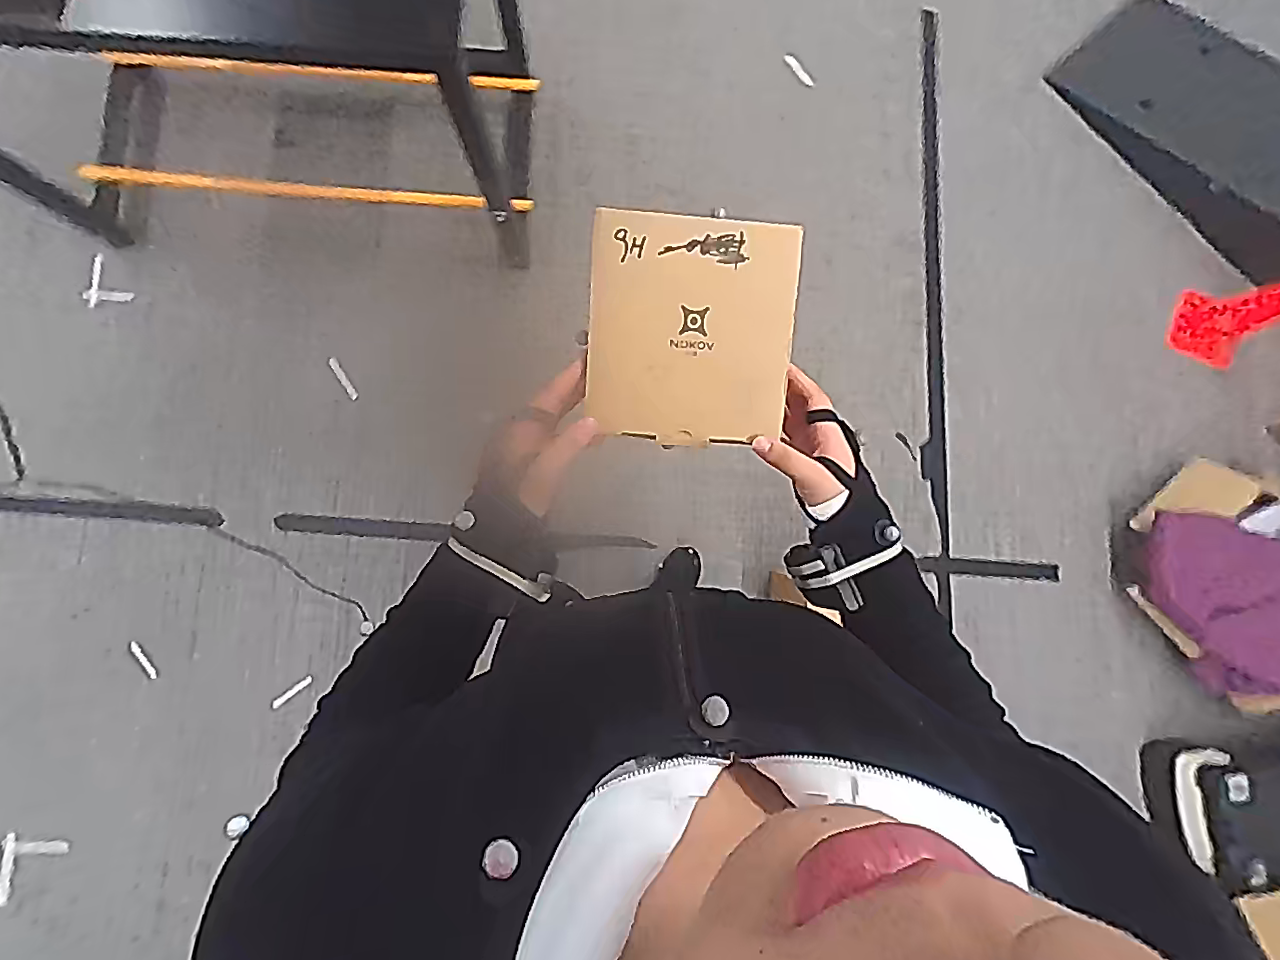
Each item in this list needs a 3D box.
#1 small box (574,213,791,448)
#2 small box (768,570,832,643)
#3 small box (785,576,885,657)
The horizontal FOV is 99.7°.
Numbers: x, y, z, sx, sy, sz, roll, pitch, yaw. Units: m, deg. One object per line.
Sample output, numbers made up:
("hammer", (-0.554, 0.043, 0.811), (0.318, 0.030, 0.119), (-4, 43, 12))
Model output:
("small box", (0.028, -0.131, 0.512), (0.168, 0.176, 0.179), (2, 101, -4))
("small box", (0.444, 0.337, 1.435), (0.168, 0.176, 0.179), (6, 85, -1))
("small box", (0.452, 0.315, 1.274), (0.179, 0.176, 0.168), (1, 83, -1))
